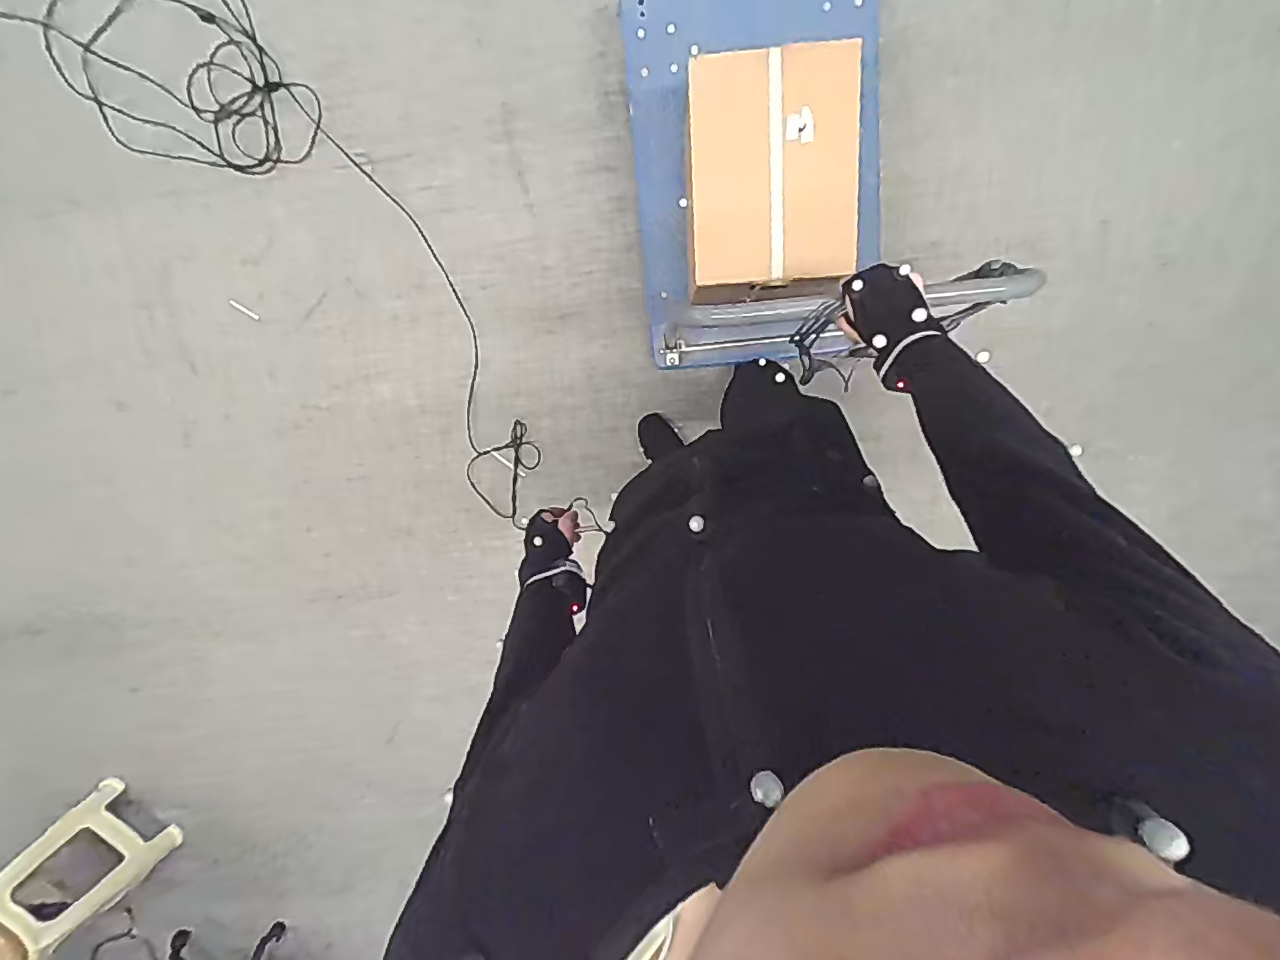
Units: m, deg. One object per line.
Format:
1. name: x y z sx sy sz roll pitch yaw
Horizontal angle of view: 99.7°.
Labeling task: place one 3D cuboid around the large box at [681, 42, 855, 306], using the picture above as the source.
1. large box: 0.253 -0.608 1.156 0.320 0.320 0.408 -3 101 3
